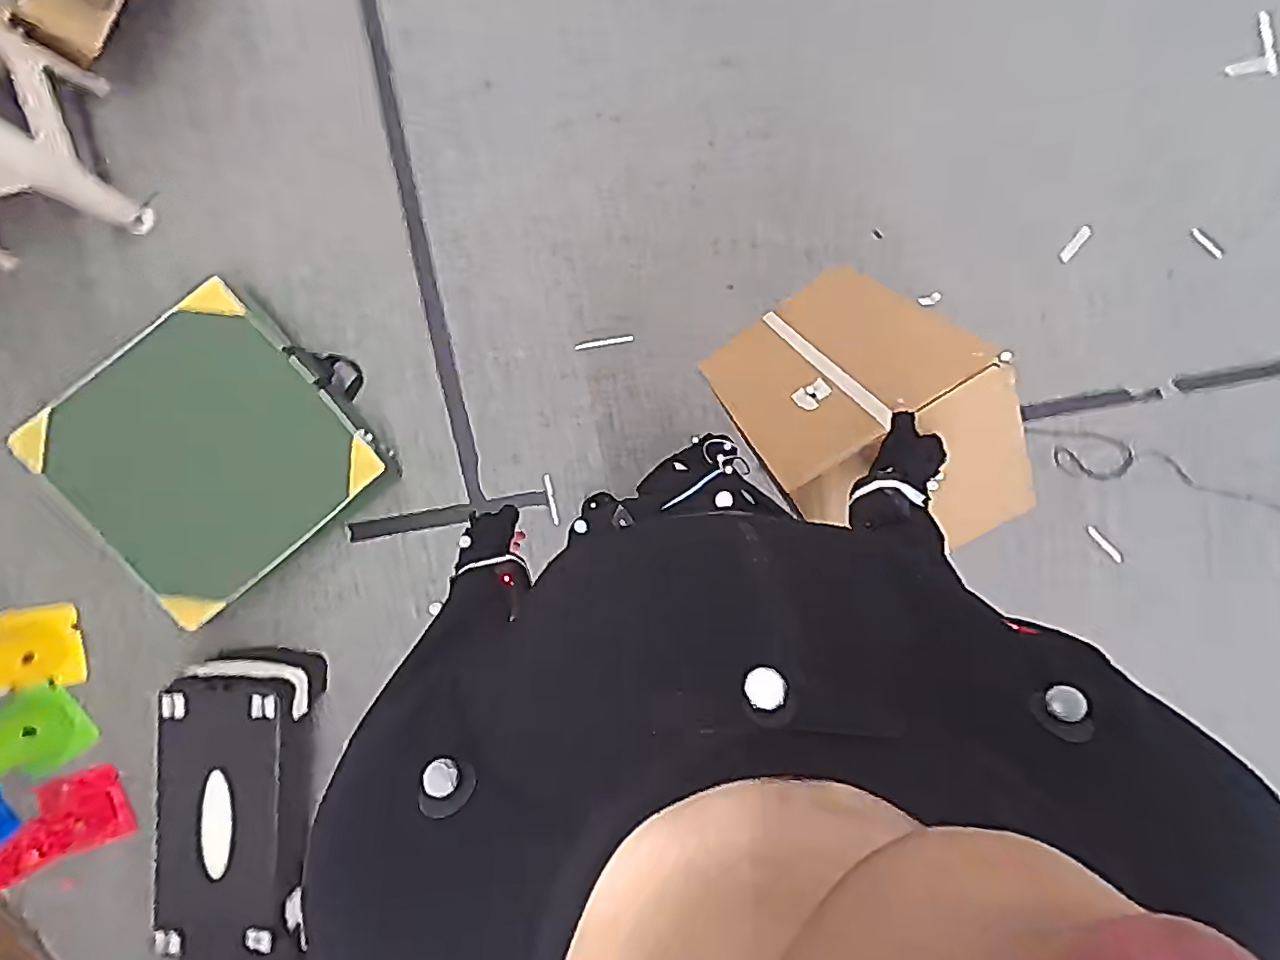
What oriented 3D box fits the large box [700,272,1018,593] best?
[{"bbox_3d":[0.357,-0.091,0.937,0.320,0.408,0.320,-33,128,11],"label":"large box"}]
